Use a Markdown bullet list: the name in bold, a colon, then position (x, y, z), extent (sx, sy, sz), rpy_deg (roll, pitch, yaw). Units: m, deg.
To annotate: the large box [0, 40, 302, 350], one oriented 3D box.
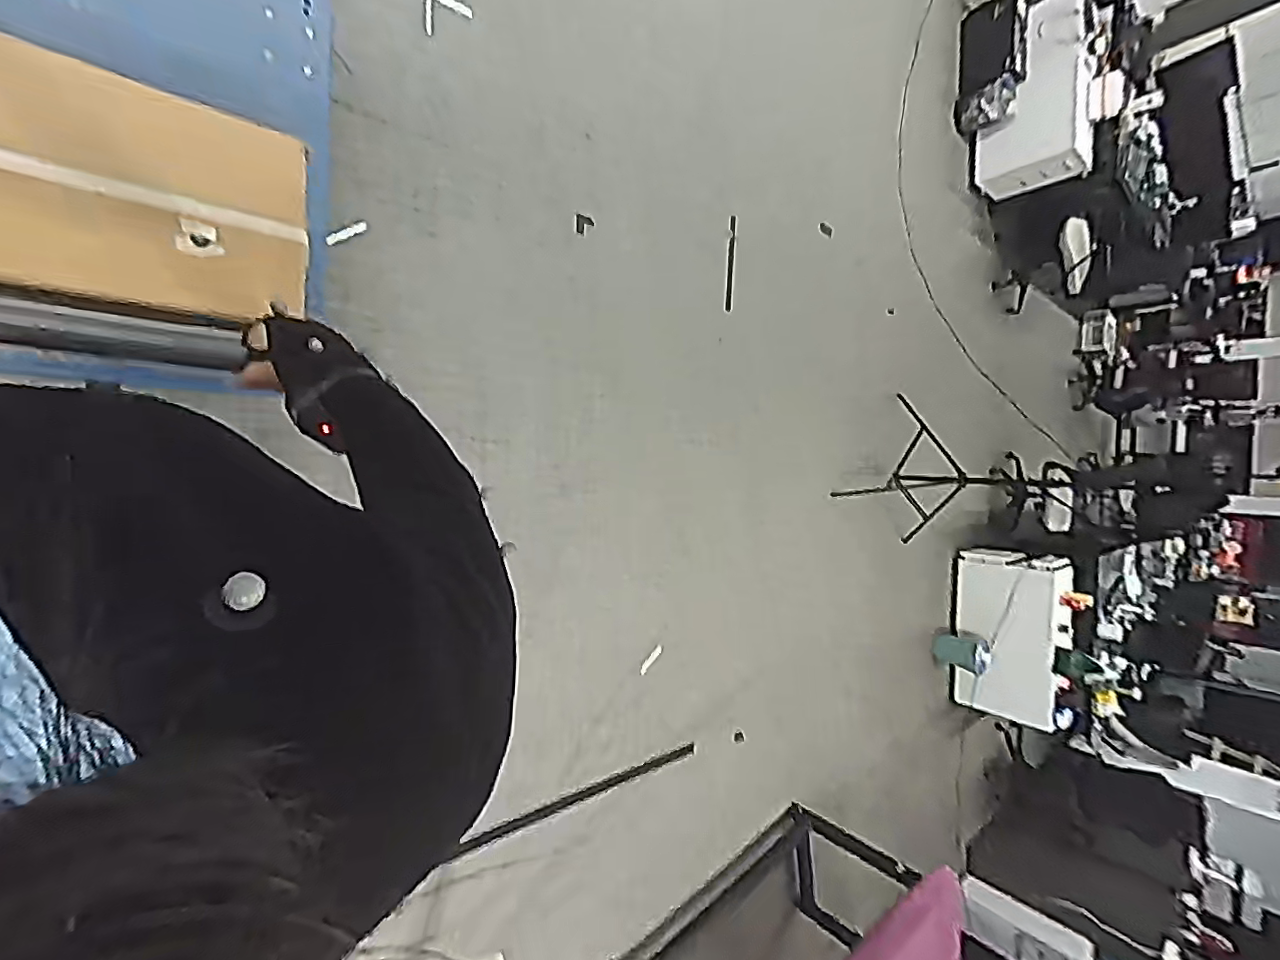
- **large box**: position (-0.819, -0.415, 0.891), extent (0.408, 0.320, 0.320), rpy_deg (1, 93, -41)
